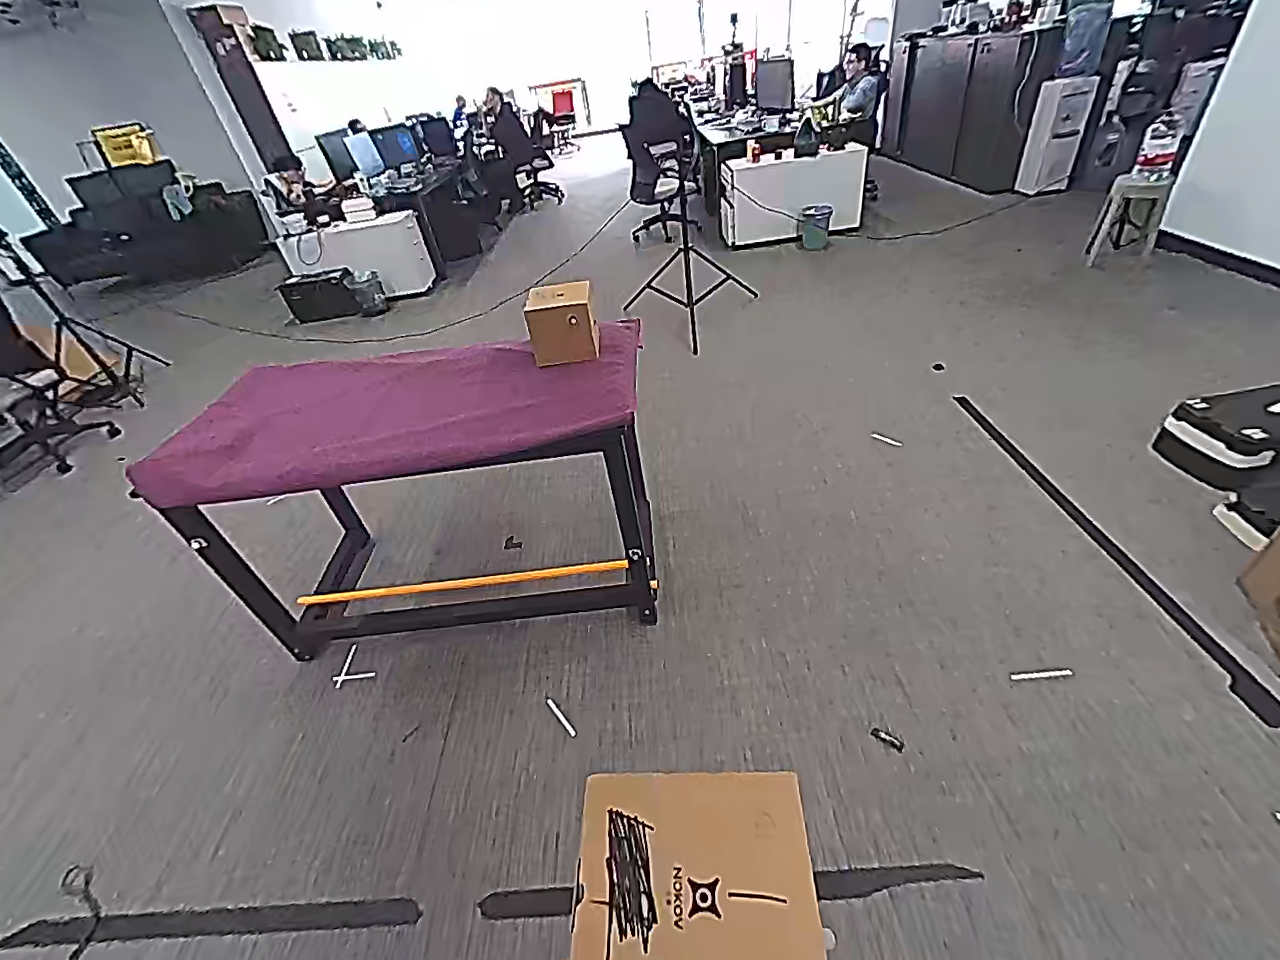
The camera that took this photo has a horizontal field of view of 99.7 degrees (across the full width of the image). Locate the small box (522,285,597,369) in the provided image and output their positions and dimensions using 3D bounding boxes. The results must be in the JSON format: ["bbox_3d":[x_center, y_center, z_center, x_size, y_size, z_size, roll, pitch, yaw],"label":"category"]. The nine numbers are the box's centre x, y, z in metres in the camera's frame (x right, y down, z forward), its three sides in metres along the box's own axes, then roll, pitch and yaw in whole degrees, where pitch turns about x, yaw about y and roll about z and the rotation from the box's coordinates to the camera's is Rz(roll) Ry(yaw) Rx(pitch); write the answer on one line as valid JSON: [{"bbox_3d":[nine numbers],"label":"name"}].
[{"bbox_3d":[-0.220,-0.435,1.541,0.179,0.176,0.168,-7,39,3],"label":"small box"}]

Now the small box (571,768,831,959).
[{"bbox_3d":[0.053,0.353,0.437,0.179,0.176,0.168,-5,41,8],"label":"small box"}]
